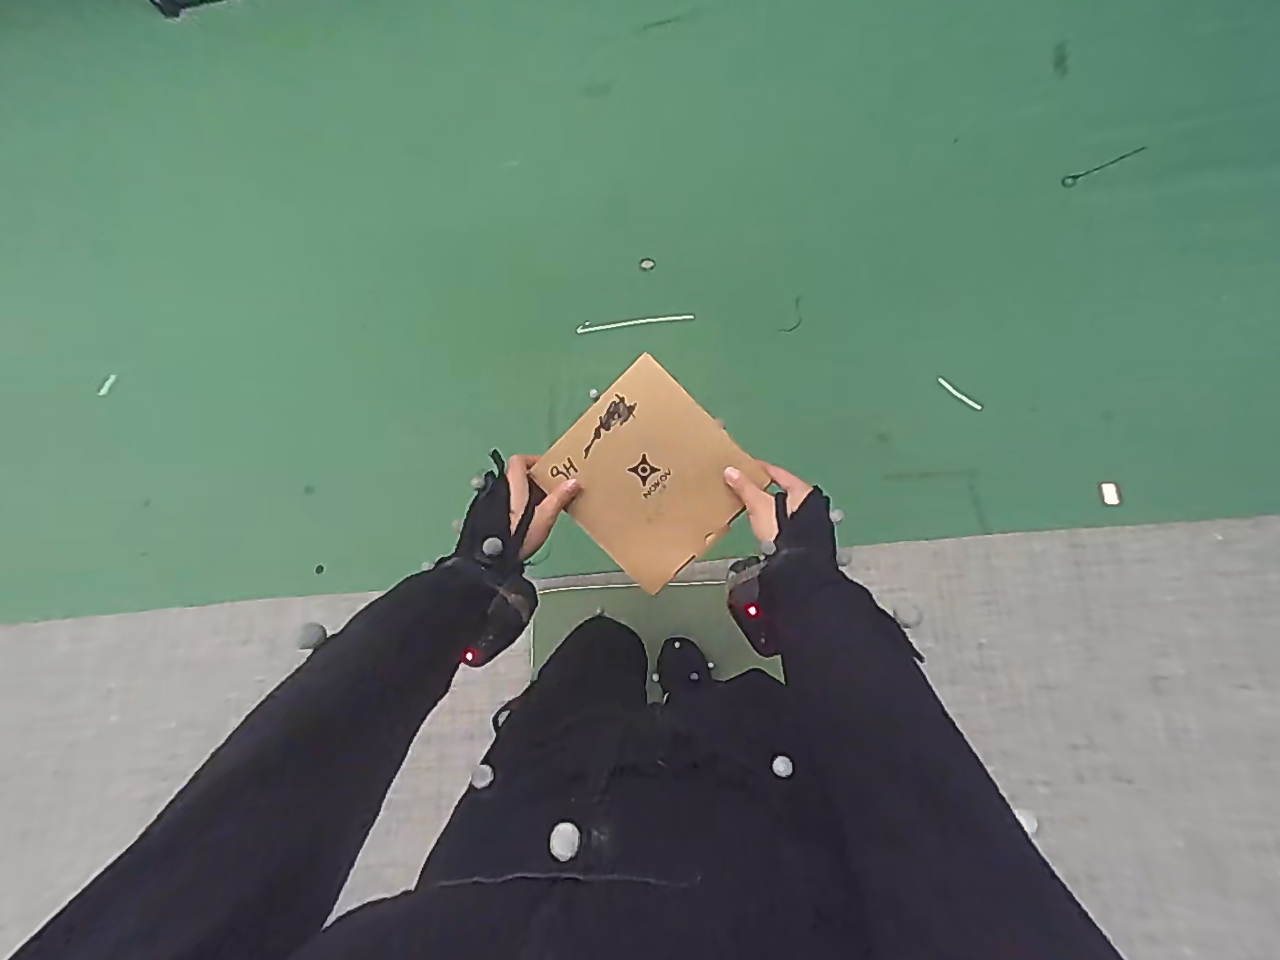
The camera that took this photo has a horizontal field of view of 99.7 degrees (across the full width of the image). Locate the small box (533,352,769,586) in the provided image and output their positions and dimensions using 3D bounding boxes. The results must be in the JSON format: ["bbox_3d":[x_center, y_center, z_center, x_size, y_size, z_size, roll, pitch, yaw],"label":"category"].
[{"bbox_3d":[0.013,-0.017,0.606,0.179,0.176,0.168,45,94,-3],"label":"small box"}]
